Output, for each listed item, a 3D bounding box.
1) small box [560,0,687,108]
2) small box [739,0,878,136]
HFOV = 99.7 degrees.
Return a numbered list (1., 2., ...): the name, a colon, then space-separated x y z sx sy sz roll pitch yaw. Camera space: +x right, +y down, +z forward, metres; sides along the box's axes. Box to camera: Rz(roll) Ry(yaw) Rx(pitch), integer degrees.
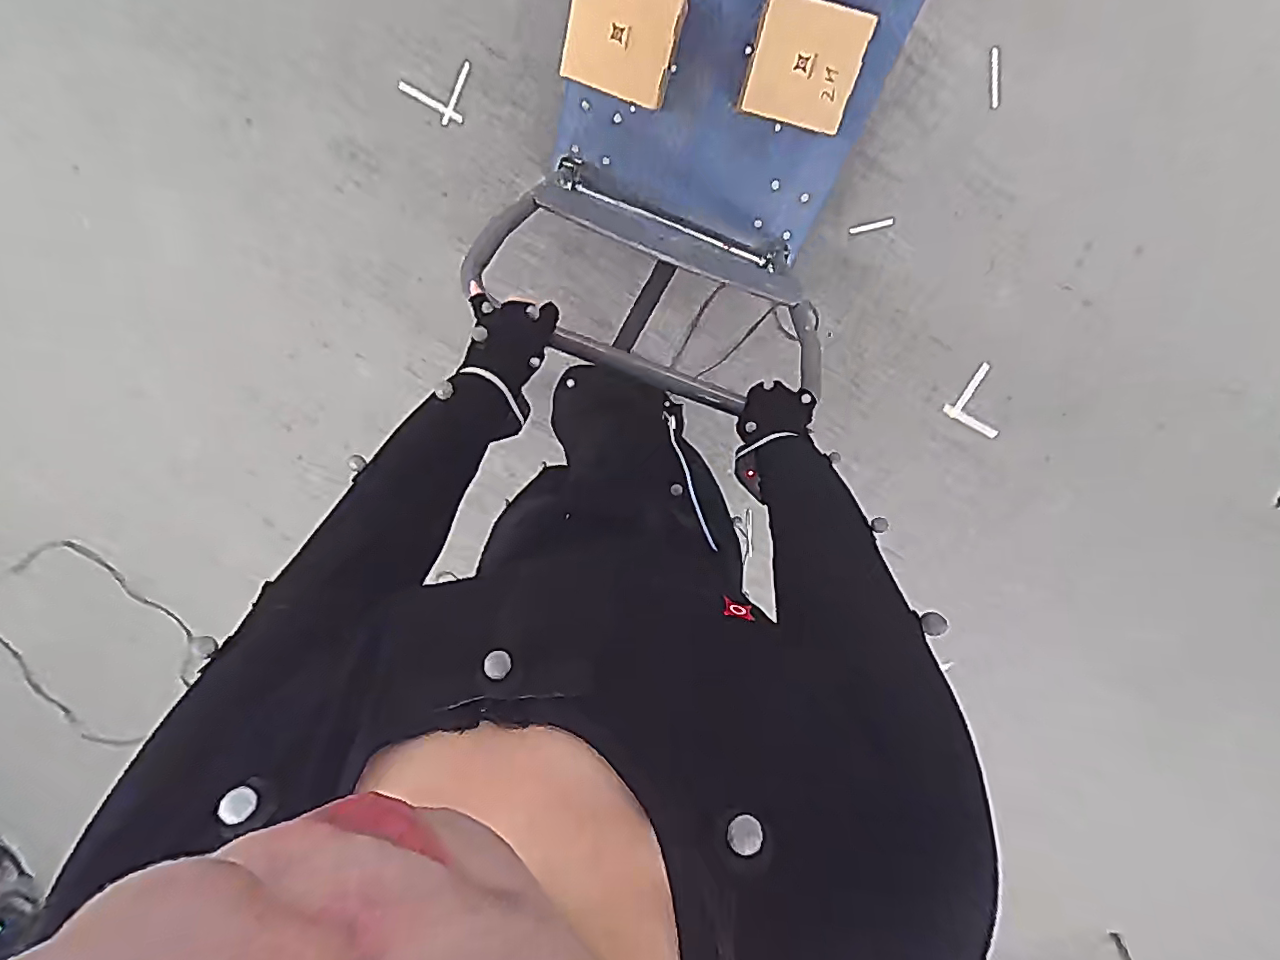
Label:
1. small box: -0.025 -0.781 0.958 0.179 0.176 0.168 16 125 -6
2. small box: 0.283 -0.727 0.958 0.179 0.176 0.168 14 125 -3
